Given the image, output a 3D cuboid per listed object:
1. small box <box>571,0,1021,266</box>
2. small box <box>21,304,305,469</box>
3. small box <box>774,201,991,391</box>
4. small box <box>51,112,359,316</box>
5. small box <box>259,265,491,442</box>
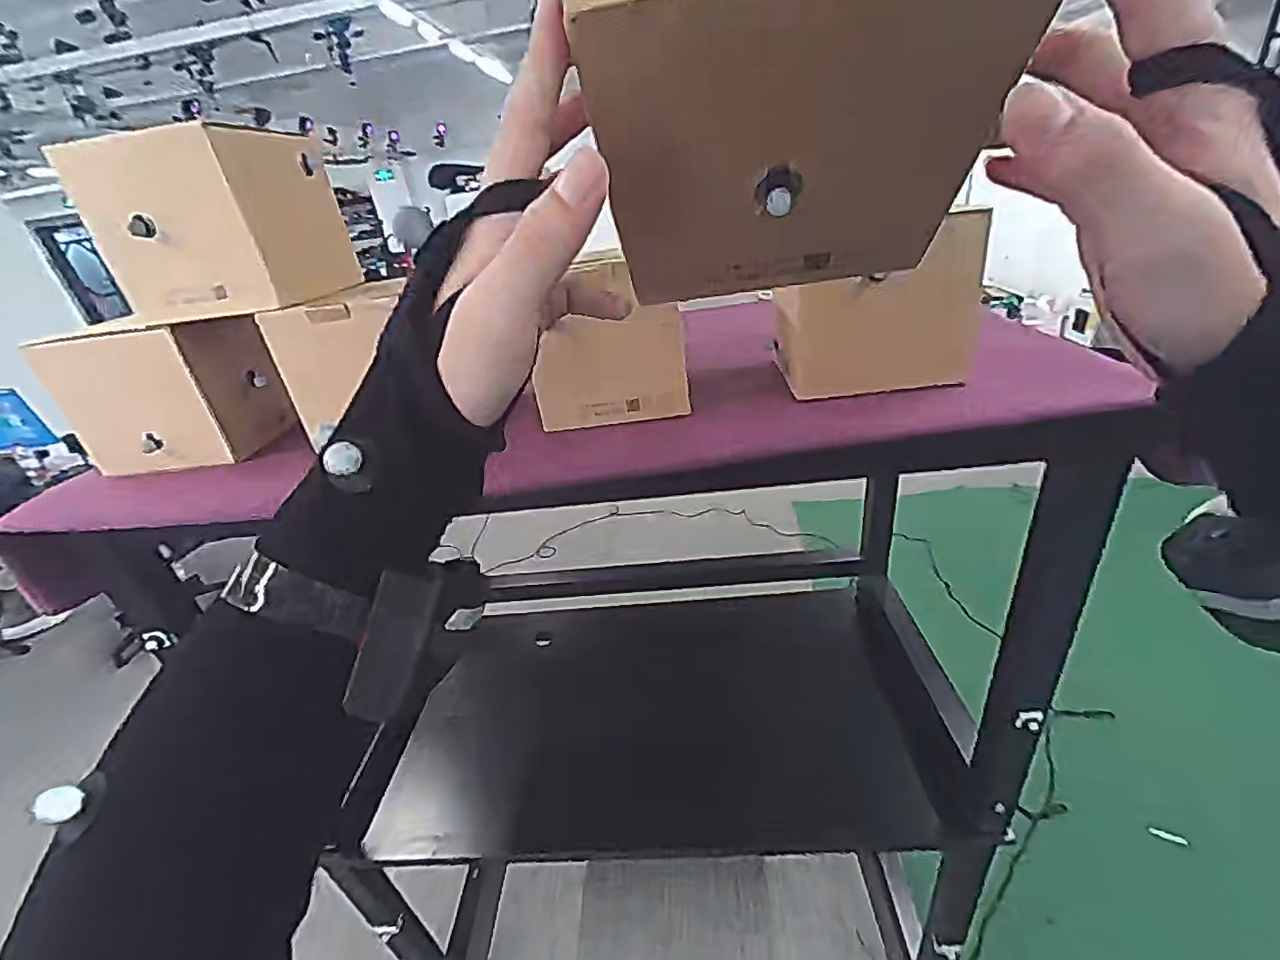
[{"bbox_3d":[0.064,-0.228,0.267,0.168,0.179,0.176,-6,-16,7],"label":"small box"},{"bbox_3d":[-0.570,-0.126,0.682,0.179,0.176,0.168,-5,28,3],"label":"small box"},{"bbox_3d":[0.248,-0.204,0.600,0.179,0.176,0.168,-5,28,6],"label":"small box"},{"bbox_3d":[-0.449,-0.285,0.599,0.168,0.176,0.179,-5,27,6],"label":"small box"},{"bbox_3d":[-0.299,-0.152,0.658,0.168,0.176,0.179,-4,28,7],"label":"small box"}]
